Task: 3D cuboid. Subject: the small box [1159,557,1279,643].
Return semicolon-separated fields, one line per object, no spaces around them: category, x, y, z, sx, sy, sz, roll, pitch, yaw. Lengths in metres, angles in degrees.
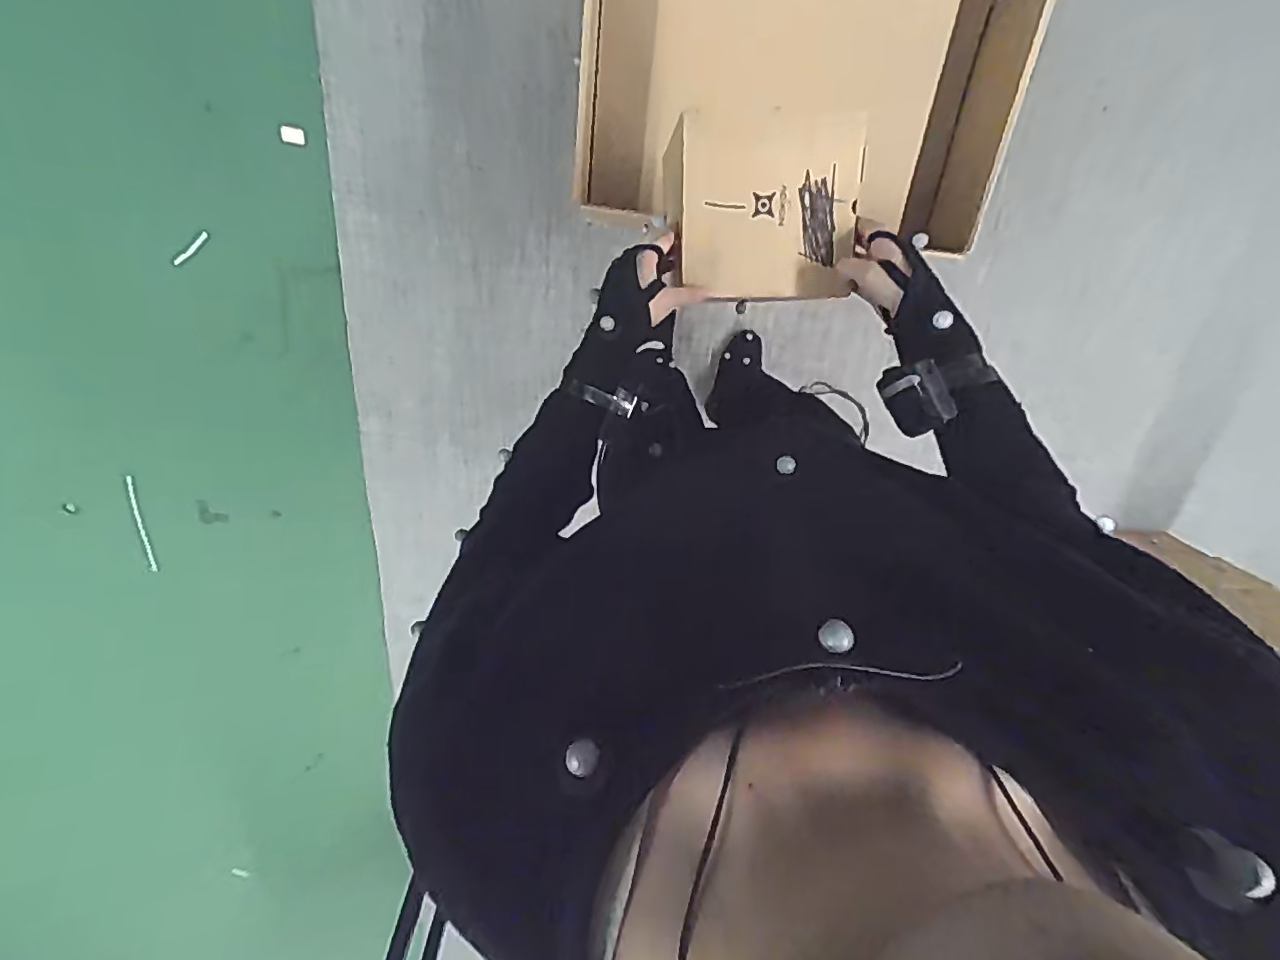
small box;1.588;0.325;1.472;0.168;0.176;0.179;4;112;-2

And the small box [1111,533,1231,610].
small box;1.583;0.272;1.627;0.168;0.176;0.179;3;113;-2

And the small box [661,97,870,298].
small box;0.119;-0.288;0.586;0.179;0.176;0.168;-1;106;-2
